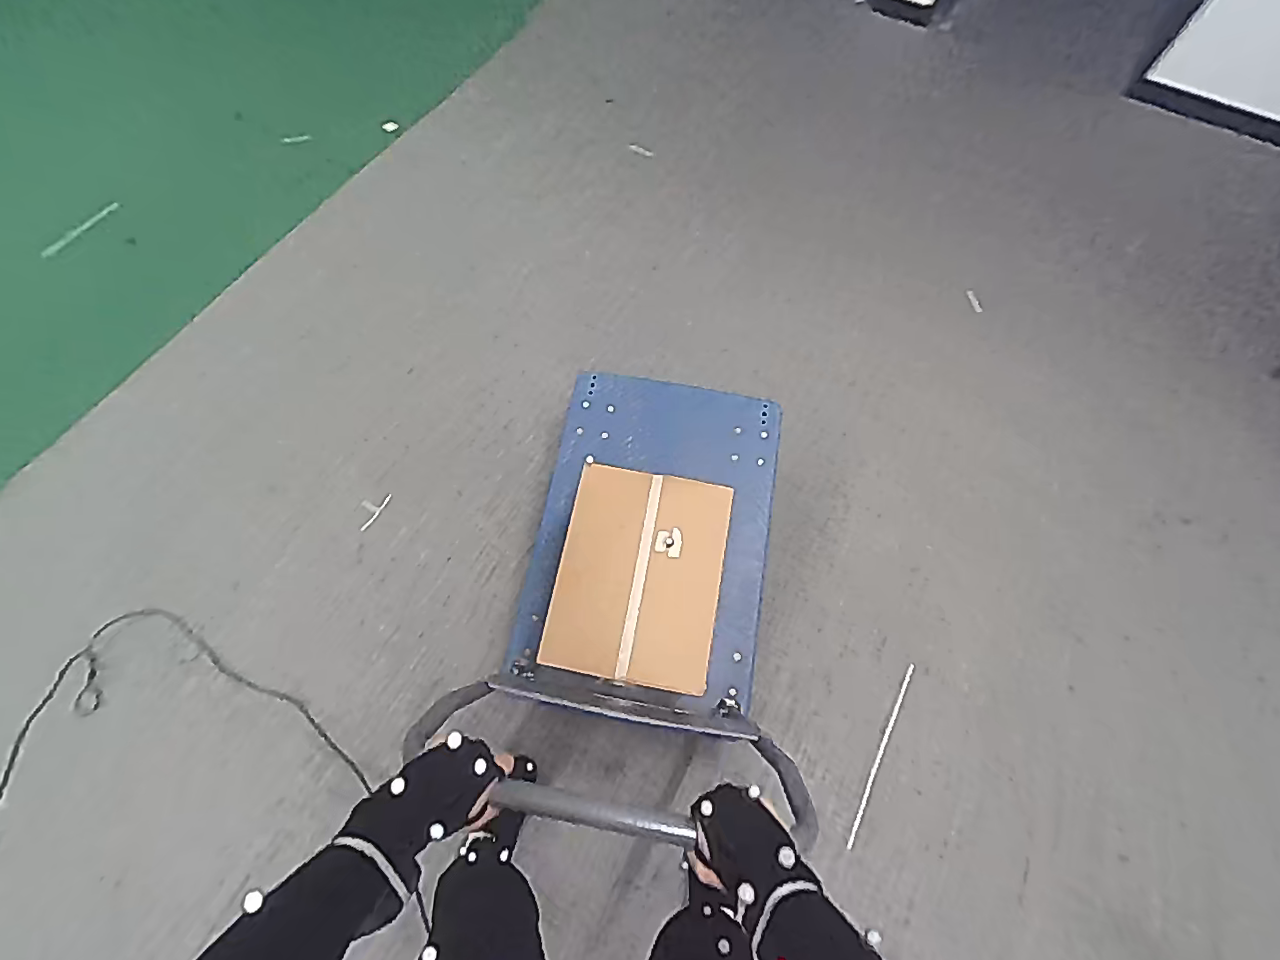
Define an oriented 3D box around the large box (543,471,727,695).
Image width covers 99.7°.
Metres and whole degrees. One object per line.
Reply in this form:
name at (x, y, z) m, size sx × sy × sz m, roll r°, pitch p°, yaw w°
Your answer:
large box at (0.003, 0.236, 1.201) m, size 0.320 × 0.320 × 0.408 m, roll 10°, pitch 72°, yaw 4°
